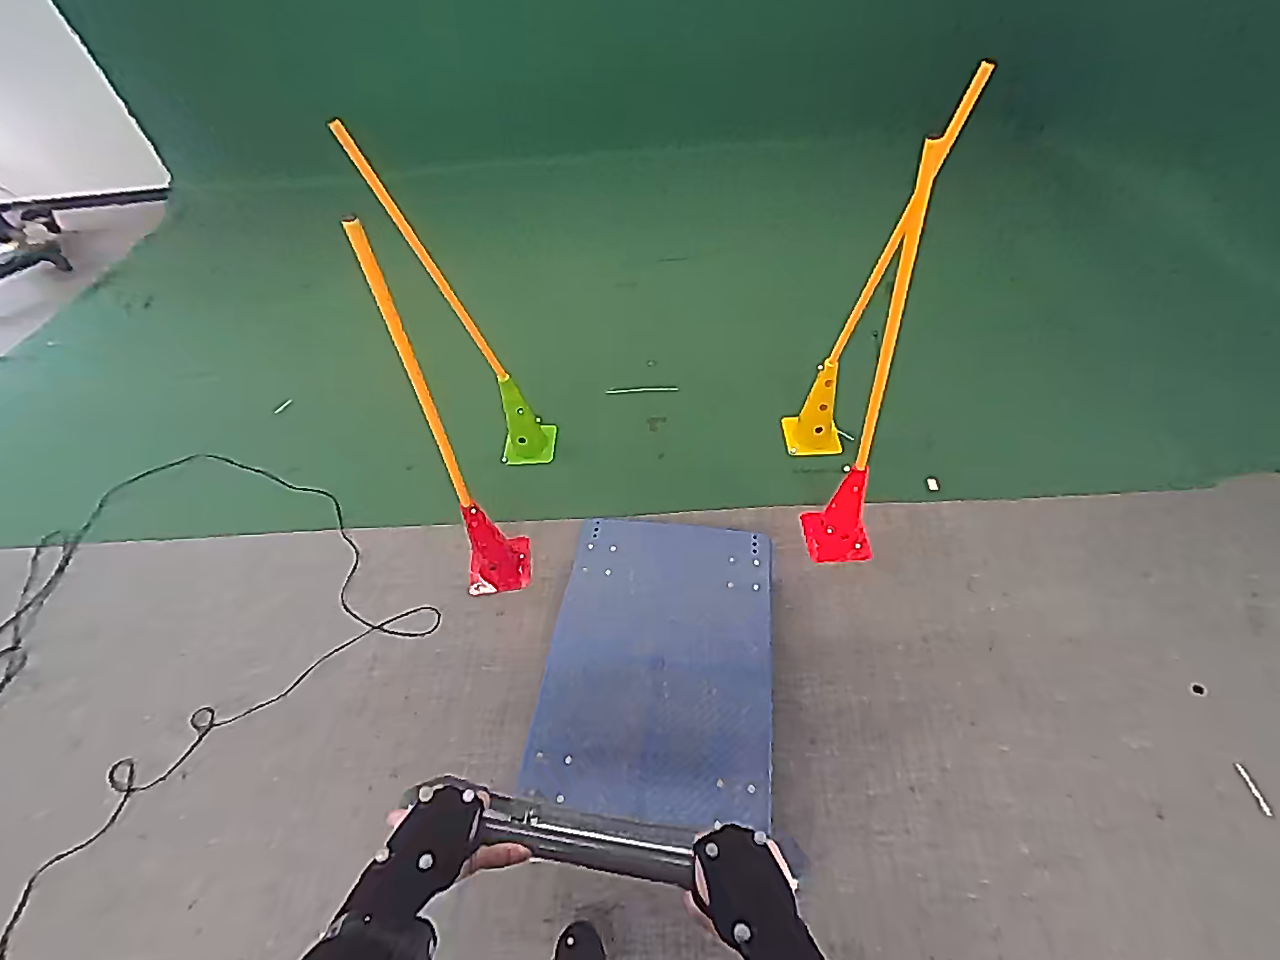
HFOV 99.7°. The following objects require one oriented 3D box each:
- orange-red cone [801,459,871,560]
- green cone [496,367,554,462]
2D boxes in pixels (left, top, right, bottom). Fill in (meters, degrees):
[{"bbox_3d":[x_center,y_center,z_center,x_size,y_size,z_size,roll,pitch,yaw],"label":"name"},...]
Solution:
[{"bbox_3d":[0.627,0.066,1.641,0.198,0.360,0.199,-2,49,3],"label":"orange-red cone"},{"bbox_3d":[-0.459,-0.260,2.001,0.200,0.368,0.202,-3,50,3],"label":"green cone"}]
